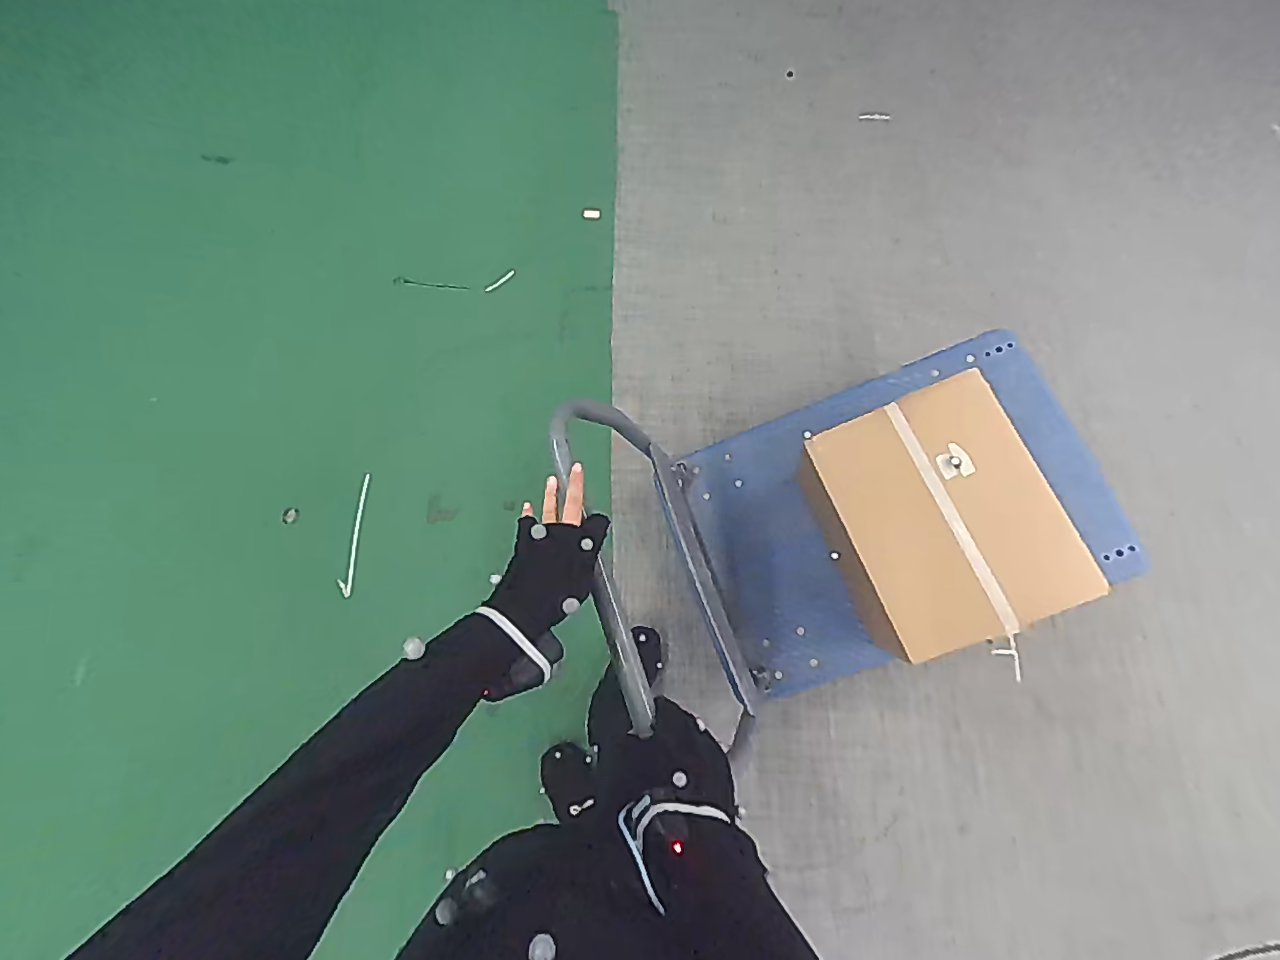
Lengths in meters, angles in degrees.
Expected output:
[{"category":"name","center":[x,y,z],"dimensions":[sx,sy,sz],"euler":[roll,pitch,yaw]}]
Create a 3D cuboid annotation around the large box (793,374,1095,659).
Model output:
[{"category":"large box","center":[0.523,0.082,1.036],"dimensions":[0.320,0.320,0.408],"euler":[-24,73,7]}]
